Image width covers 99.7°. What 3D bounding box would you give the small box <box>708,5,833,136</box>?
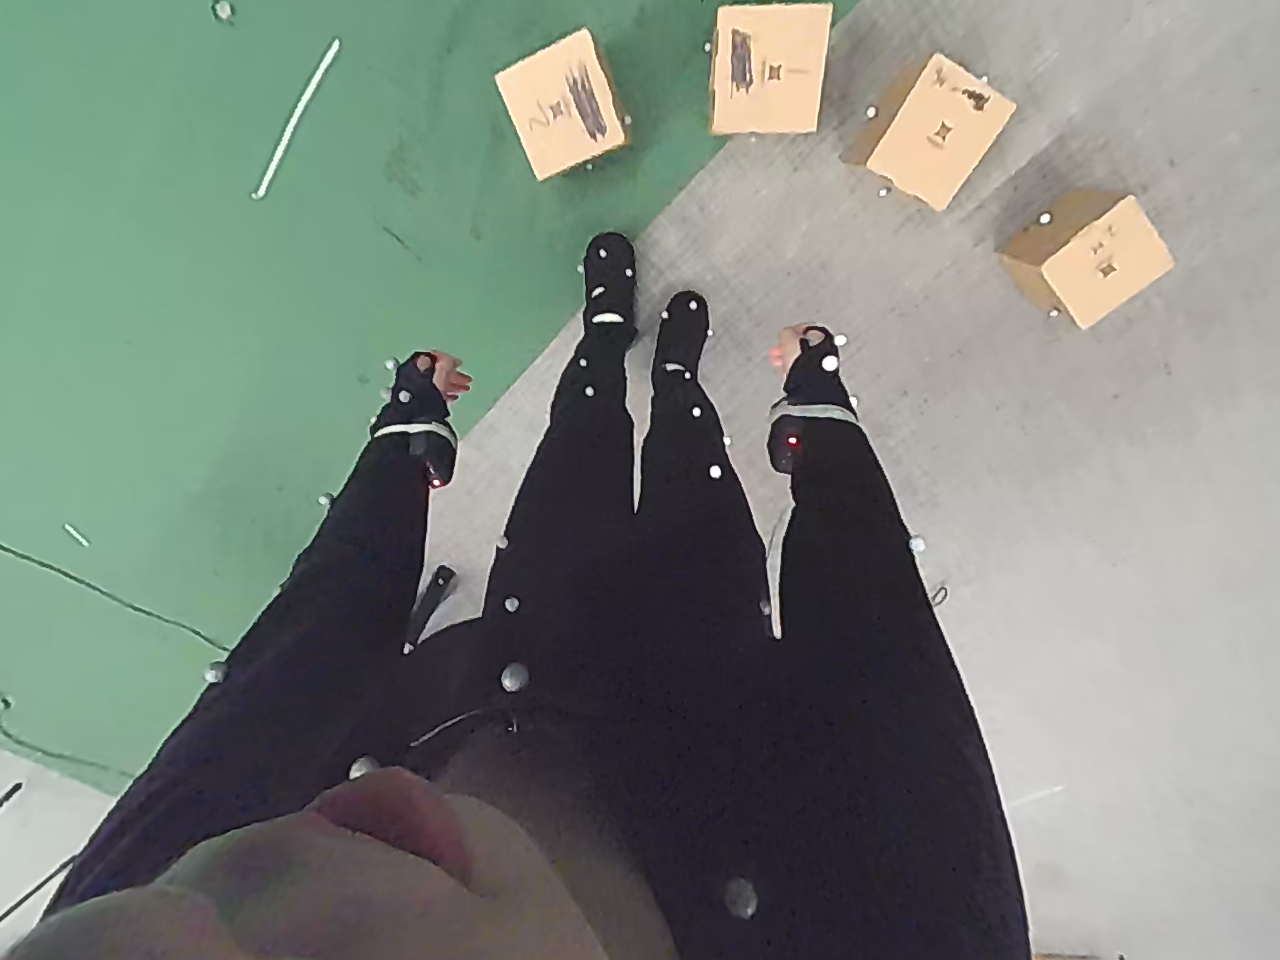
[{"bbox_3d":[0.210,-0.694,0.931,0.179,0.176,0.168,2,122,3],"label":"small box"}]

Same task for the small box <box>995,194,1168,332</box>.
[{"bbox_3d":[0.840,-0.426,1.045,0.179,0.176,0.168,39,117,-19],"label":"small box"}]

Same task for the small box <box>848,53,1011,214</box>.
[{"bbox_3d":[0.496,-0.608,0.962,0.168,0.176,0.179,25,121,-10],"label":"small box"}]
